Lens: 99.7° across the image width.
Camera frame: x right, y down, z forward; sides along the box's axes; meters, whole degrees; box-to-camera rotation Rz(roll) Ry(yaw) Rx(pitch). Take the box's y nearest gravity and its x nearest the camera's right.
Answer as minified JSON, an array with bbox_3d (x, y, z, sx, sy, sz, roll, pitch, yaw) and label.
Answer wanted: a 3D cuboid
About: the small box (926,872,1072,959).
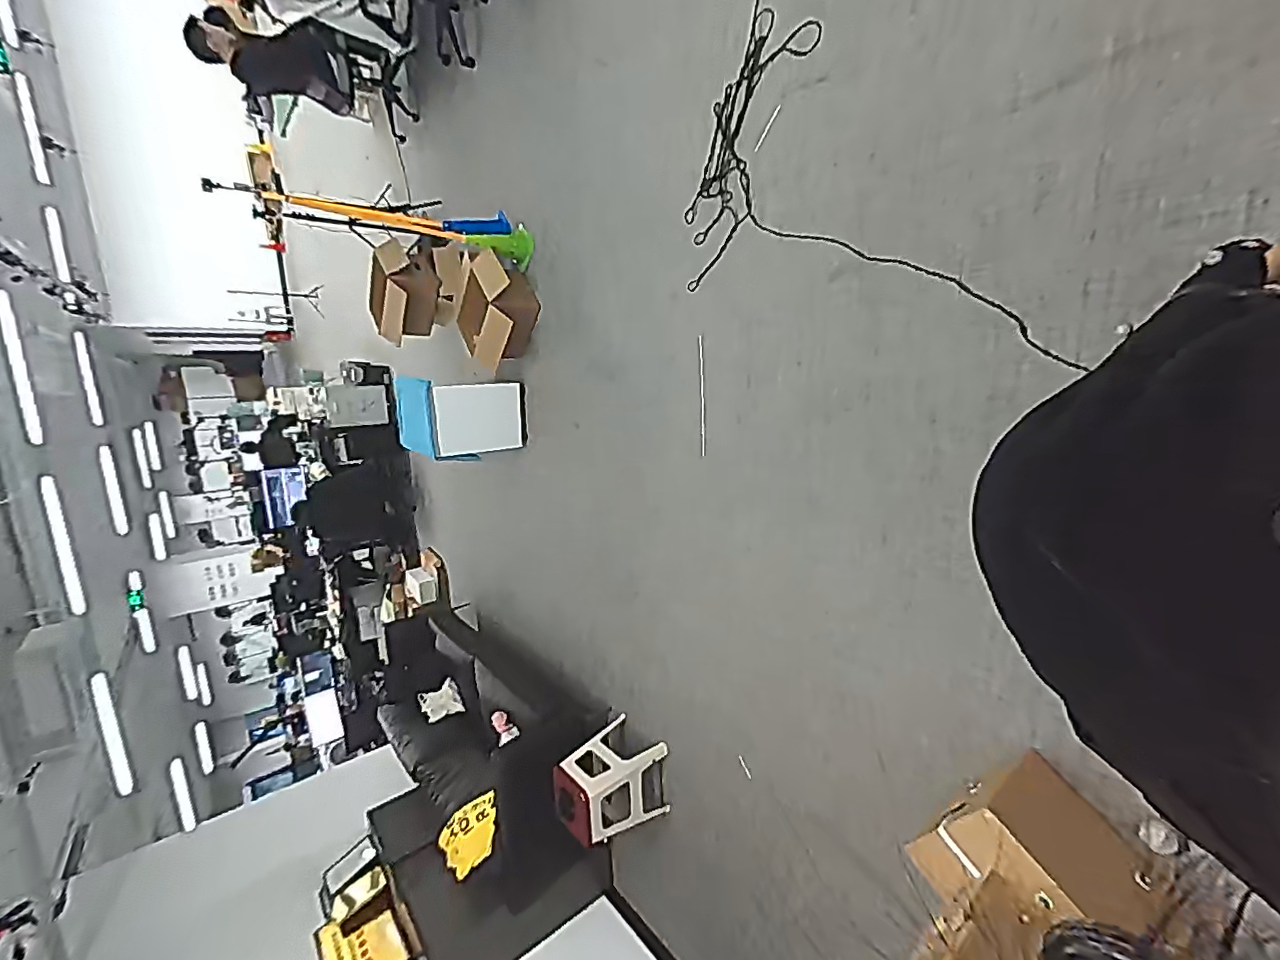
[{"bbox_3d":[0.774,0.994,1.169,0.179,0.176,0.168,47,134,35],"label":"small box"}]

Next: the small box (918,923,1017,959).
[{"bbox_3d":[0.655,1.013,1.055,0.179,0.176,0.168,49,134,31],"label":"small box"}]
